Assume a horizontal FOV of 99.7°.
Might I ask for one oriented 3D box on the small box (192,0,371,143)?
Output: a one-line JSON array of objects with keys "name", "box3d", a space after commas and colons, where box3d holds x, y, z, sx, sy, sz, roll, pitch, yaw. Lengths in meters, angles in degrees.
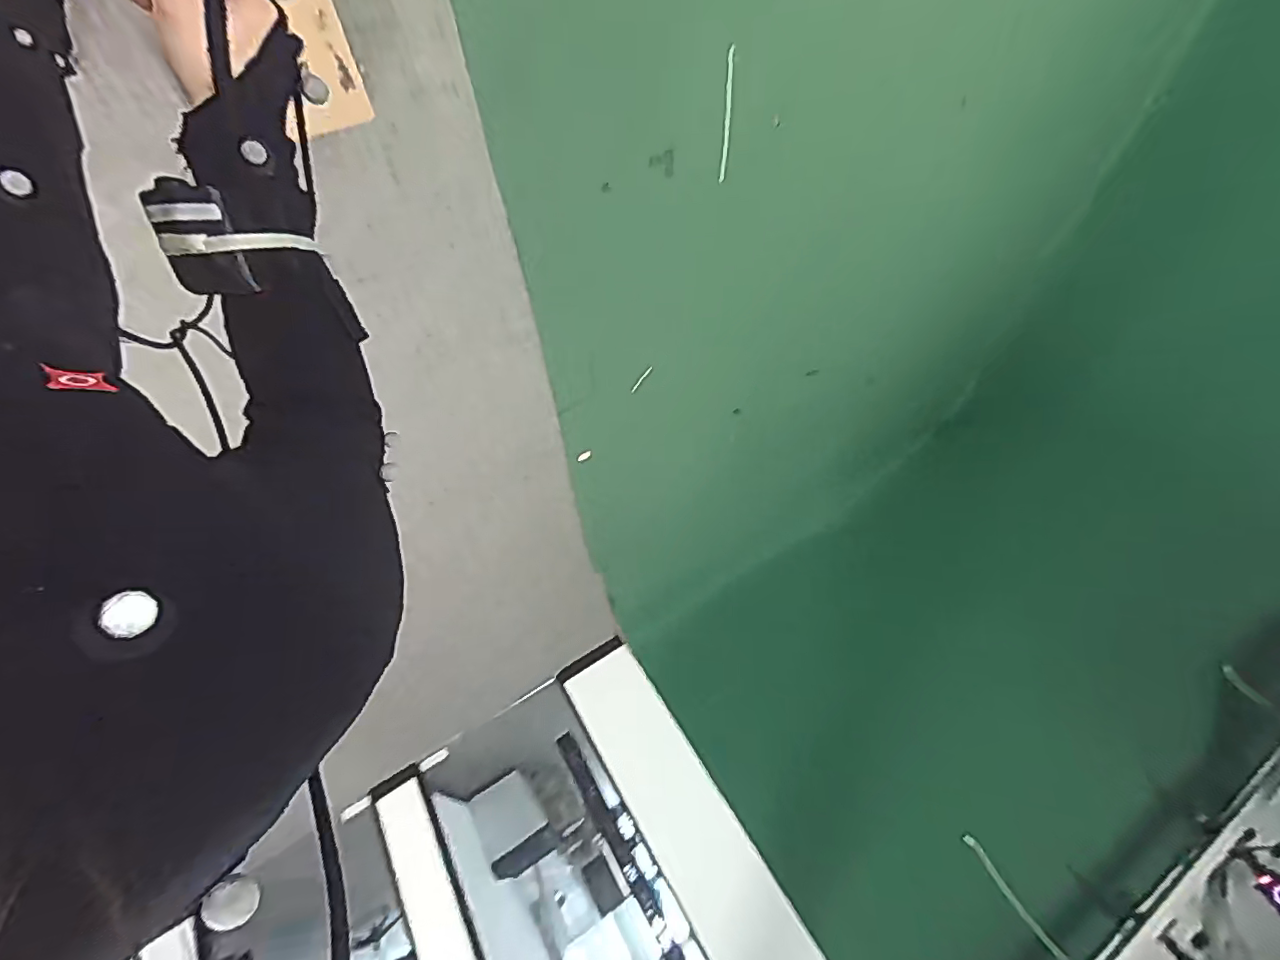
[{"name": "small box", "box3d": [-0.562, -0.667, 0.854, 0.179, 0.176, 0.168, -27, 147, -17]}]
